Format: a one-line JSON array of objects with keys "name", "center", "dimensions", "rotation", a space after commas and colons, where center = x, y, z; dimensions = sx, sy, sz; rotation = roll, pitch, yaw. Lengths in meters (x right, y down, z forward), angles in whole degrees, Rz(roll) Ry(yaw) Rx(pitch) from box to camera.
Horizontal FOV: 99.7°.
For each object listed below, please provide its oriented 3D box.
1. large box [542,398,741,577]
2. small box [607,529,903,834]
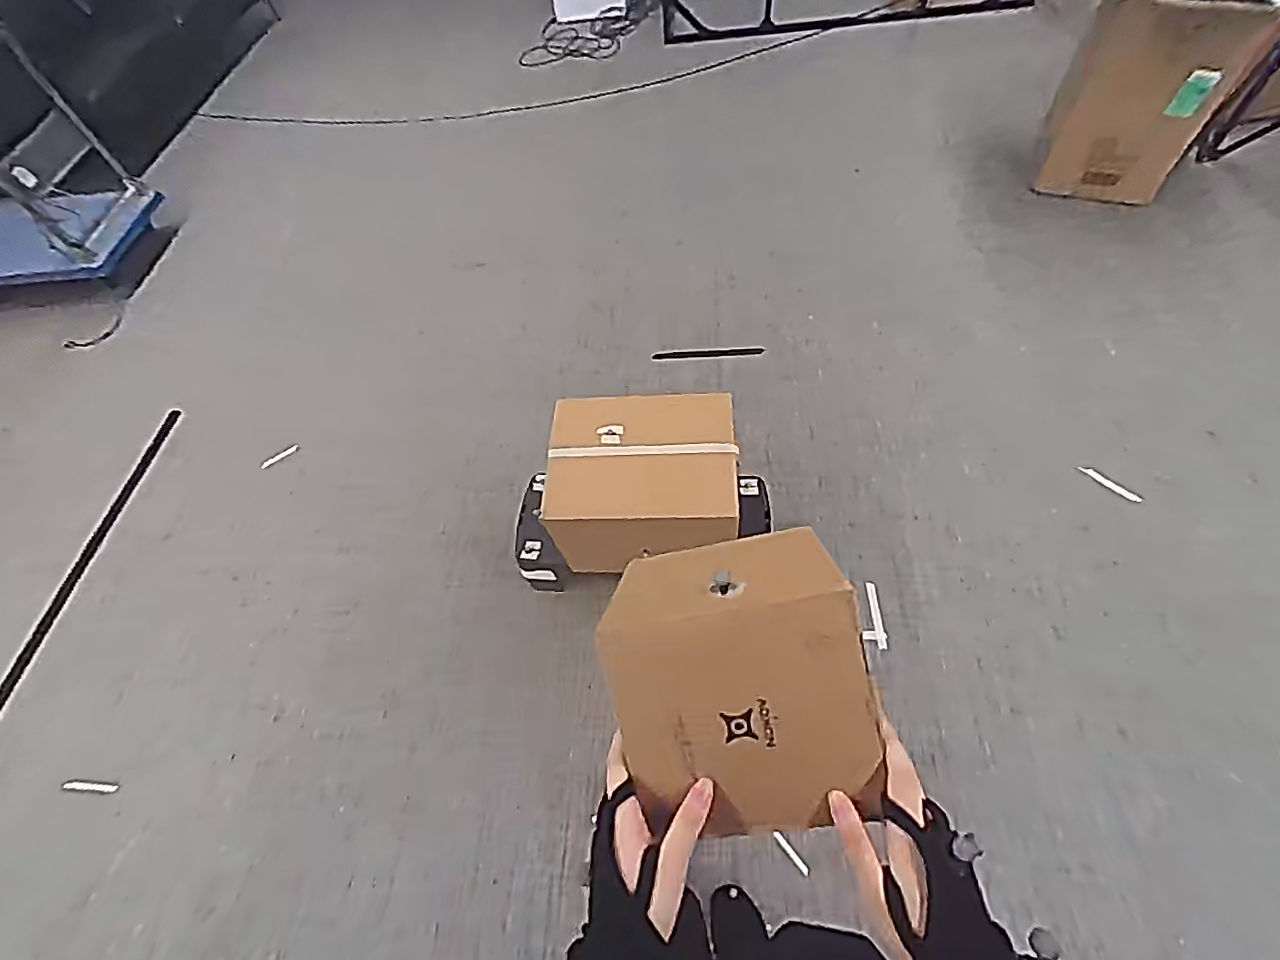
[{"name": "large box", "center": [0.021, 0.032, 1.271], "dimensions": [0.408, 0.320, 0.320], "rotation": [-2, 59, 7]}, {"name": "small box", "center": [0.086, 0.146, 0.441], "dimensions": [0.179, 0.176, 0.168], "rotation": [-11, 96, 10]}]
